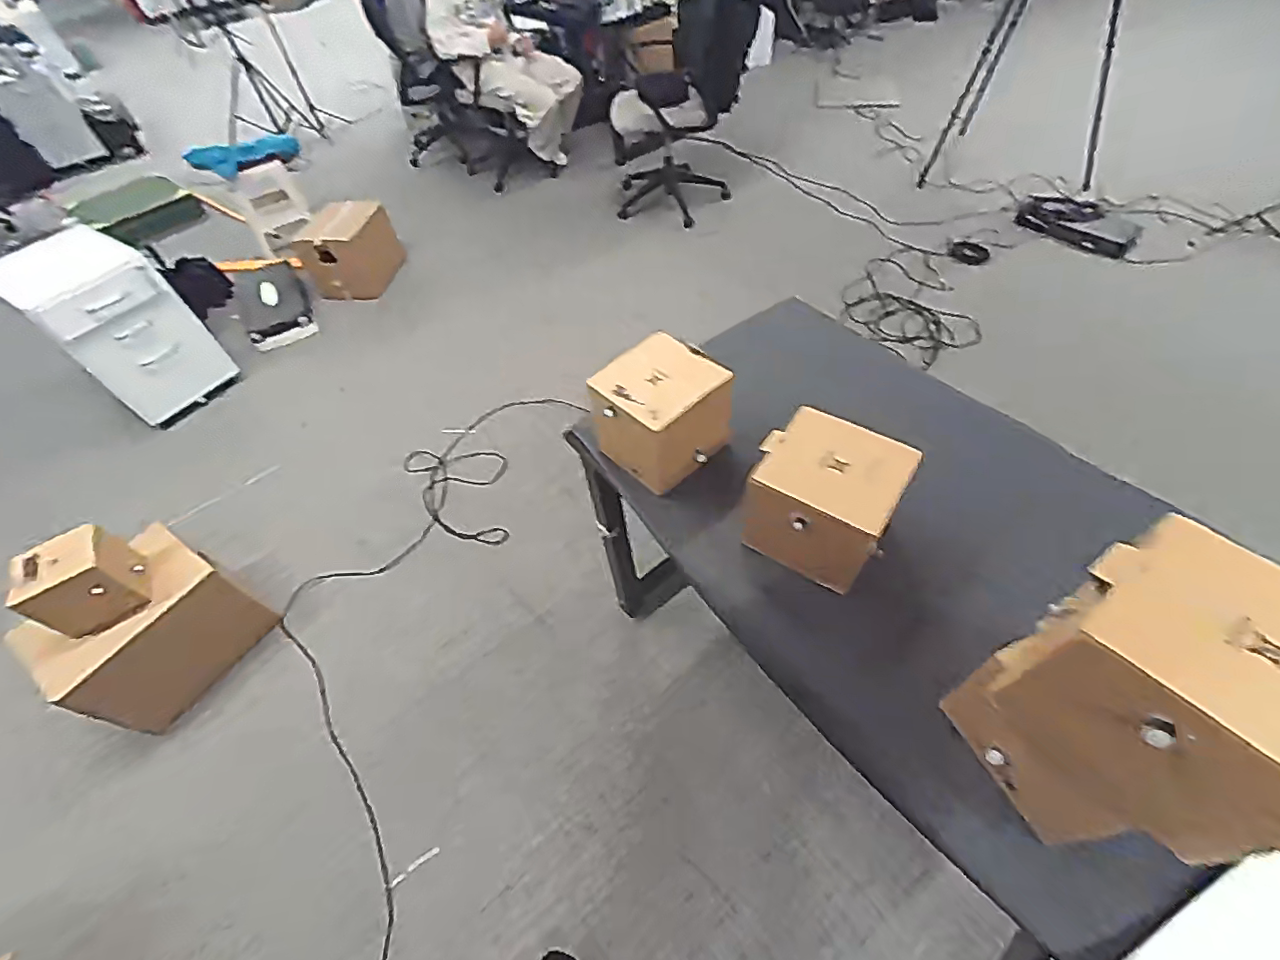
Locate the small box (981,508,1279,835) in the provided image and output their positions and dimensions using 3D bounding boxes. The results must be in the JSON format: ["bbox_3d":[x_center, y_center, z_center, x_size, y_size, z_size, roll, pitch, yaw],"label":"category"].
[{"bbox_3d":[0.442,0.164,0.457,0.168,0.176,0.179,-34,55,-21],"label":"small box"}]

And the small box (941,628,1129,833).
[{"bbox_3d":[0.475,0.253,0.591,0.179,0.176,0.168,-21,51,-10],"label":"small box"}]

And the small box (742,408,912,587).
[{"bbox_3d":[0.265,0.029,0.801,0.179,0.176,0.168,28,59,25],"label":"small box"}]

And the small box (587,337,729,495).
[{"bbox_3d":[0.033,-0.110,0.938,0.179,0.176,0.168,-38,55,-23],"label":"small box"}]
